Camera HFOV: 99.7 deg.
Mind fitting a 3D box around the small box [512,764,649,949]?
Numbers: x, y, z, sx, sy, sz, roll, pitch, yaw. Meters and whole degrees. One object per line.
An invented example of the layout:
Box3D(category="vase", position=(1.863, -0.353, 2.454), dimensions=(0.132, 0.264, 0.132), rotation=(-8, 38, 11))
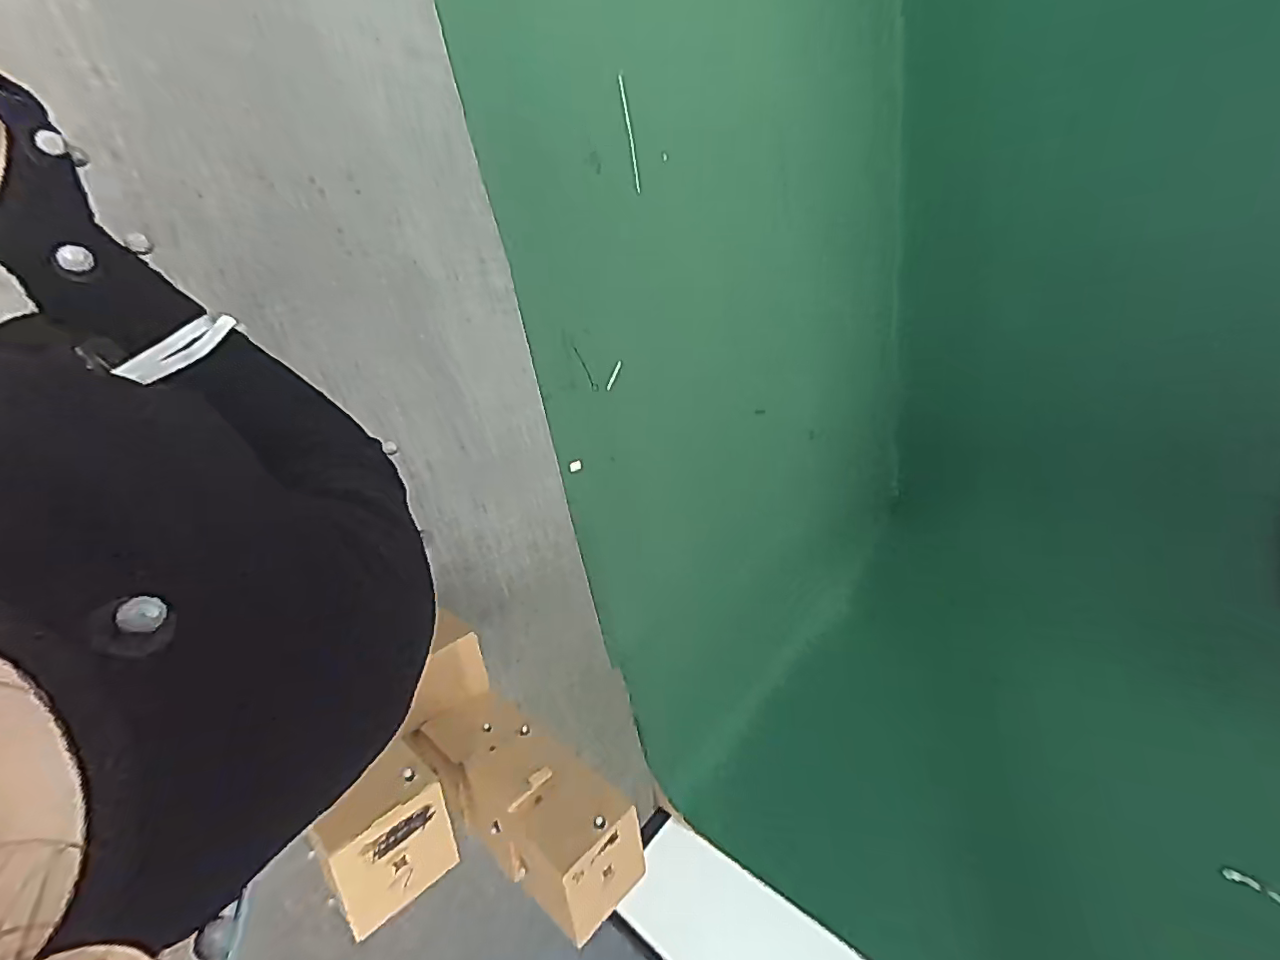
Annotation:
Box3D(category="small box", position=(-0.106, 0.662, 0.974), dimensions=(0.168, 0.176, 0.179), rotation=(-25, 116, -41))

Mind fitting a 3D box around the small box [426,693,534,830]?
Box3D(category="small box", position=(-0.346, 0.607, 1.194), dimensions=(0.179, 0.176, 0.168), rotation=(-18, 110, -41))

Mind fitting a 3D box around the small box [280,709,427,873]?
Box3D(category="small box", position=(-0.529, 0.553, 0.996), dimensions=(0.168, 0.176, 0.179), rotation=(-28, 117, -38))

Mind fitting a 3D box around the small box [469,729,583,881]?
Box3D(category="small box", position=(-0.226, 0.631, 1.084), dimensions=(0.168, 0.176, 0.179), rotation=(-16, 111, -43))
